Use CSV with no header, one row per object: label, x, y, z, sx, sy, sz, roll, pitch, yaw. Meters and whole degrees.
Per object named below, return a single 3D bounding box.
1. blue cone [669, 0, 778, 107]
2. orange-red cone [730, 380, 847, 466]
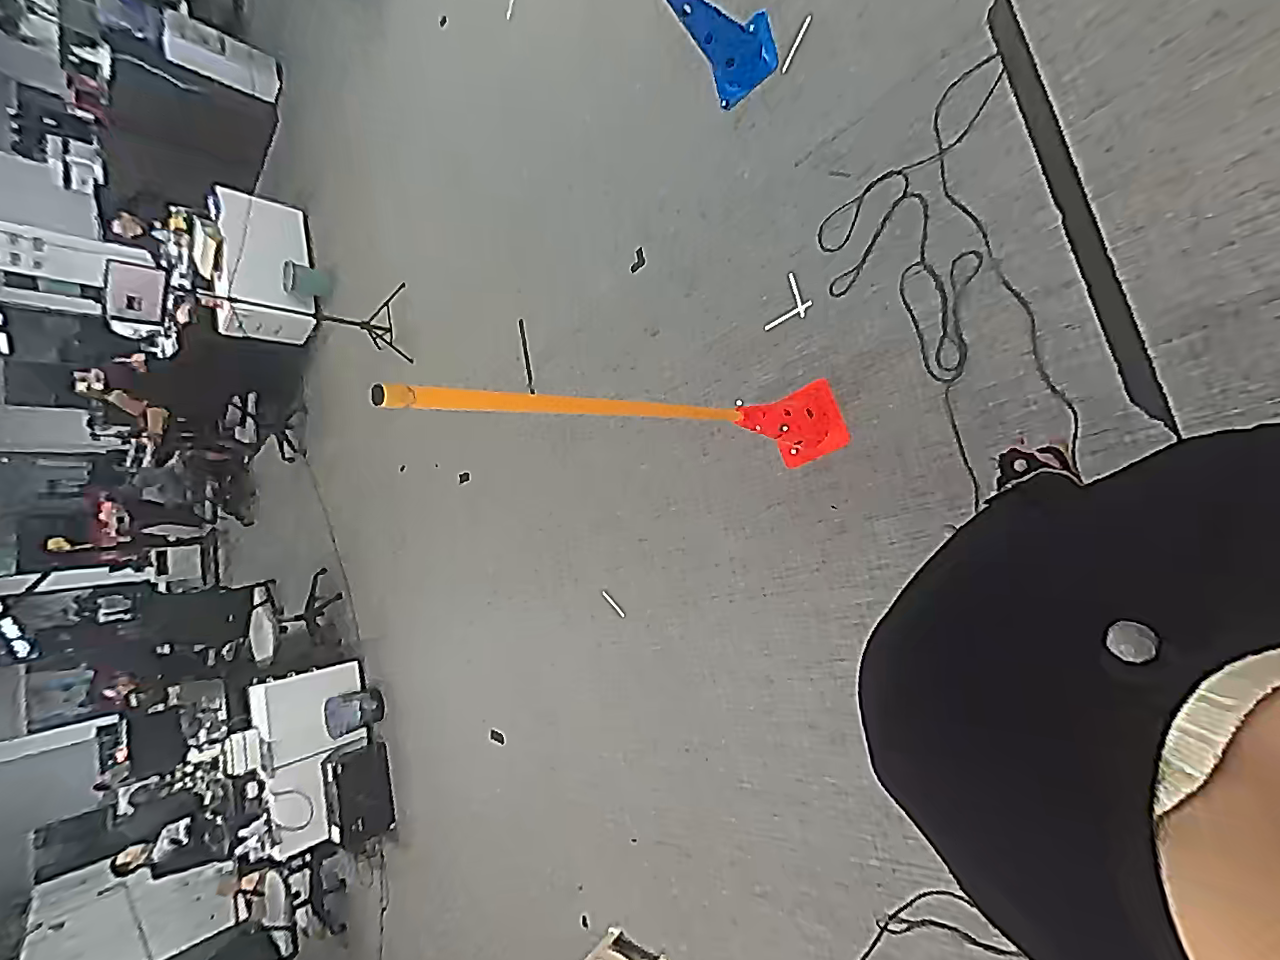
blue cone,0.202,-1.248,1.496,0.193,0.380,0.192,-18,80,42
orange-red cone,0.342,-0.153,1.371,0.199,0.360,0.198,-27,73,39
